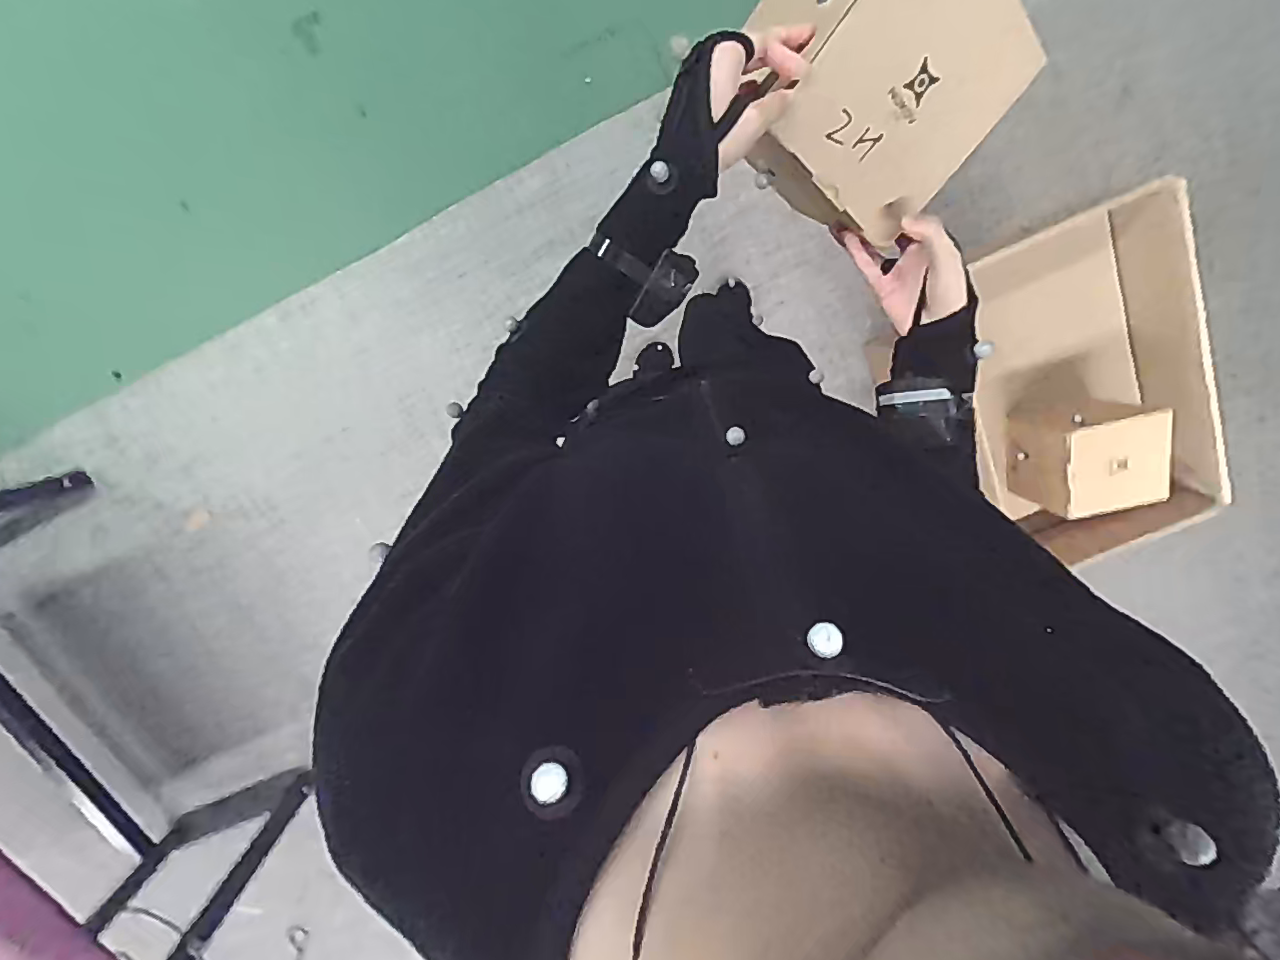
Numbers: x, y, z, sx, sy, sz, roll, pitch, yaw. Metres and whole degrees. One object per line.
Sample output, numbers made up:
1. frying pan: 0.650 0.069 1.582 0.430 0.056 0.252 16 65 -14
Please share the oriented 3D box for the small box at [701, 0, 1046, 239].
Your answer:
1. small box: 0.179 -0.350 0.462 0.168 0.176 0.179 24 117 -32
